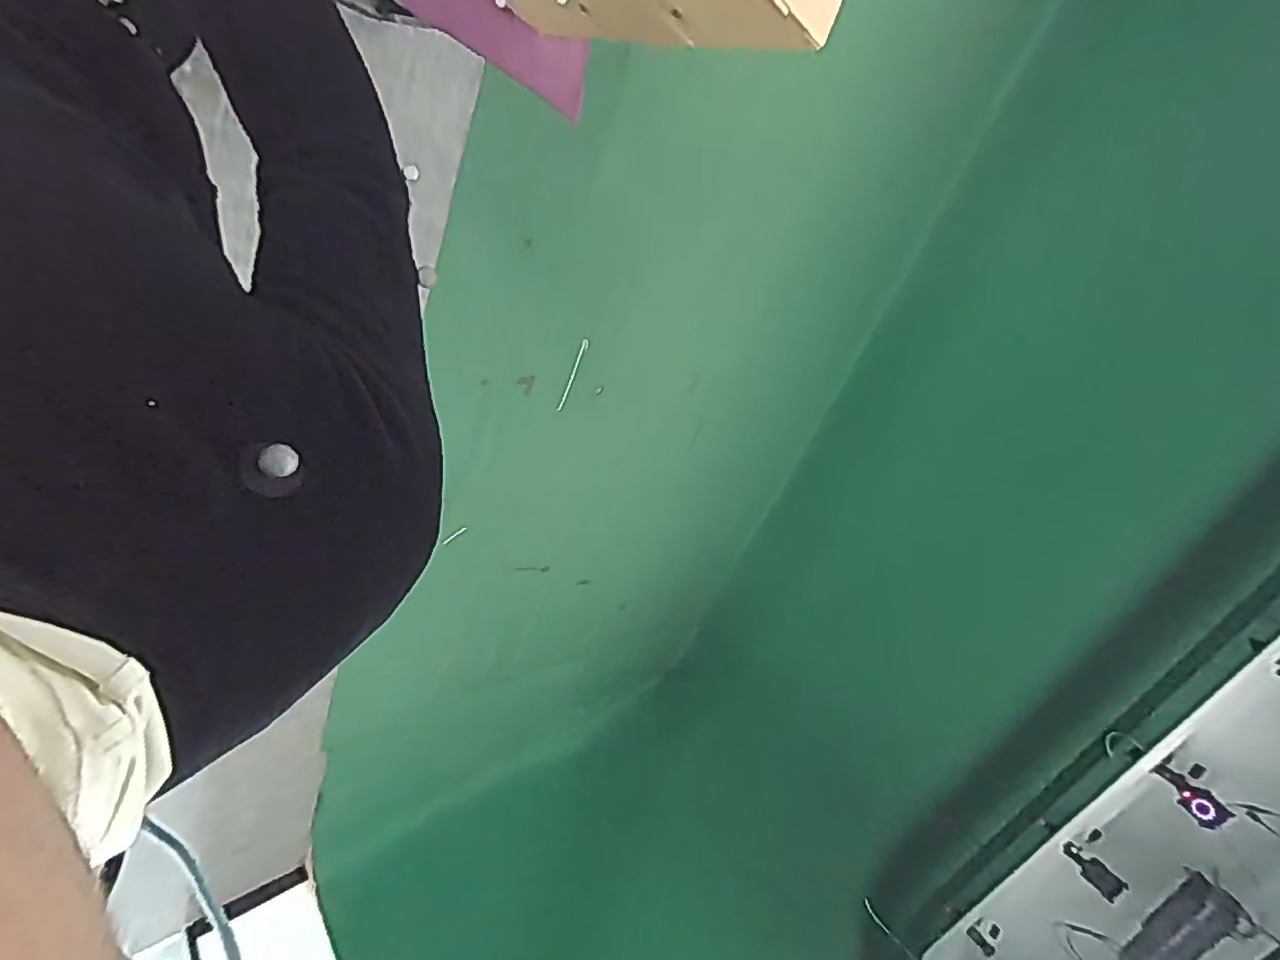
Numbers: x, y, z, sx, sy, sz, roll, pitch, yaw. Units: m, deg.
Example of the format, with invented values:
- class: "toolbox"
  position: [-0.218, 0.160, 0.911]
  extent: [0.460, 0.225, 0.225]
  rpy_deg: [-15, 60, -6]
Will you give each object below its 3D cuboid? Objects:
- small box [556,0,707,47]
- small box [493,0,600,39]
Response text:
- class: "small box"
  position: [-0.017, -0.602, 0.563]
  extent: [0.168, 0.176, 0.179]
  rpy_deg: [2, 120, -49]
- class: "small box"
  position: [-0.126, -0.684, 0.654]
  extent: [0.179, 0.176, 0.168]
  rpy_deg: [2, 120, -49]
